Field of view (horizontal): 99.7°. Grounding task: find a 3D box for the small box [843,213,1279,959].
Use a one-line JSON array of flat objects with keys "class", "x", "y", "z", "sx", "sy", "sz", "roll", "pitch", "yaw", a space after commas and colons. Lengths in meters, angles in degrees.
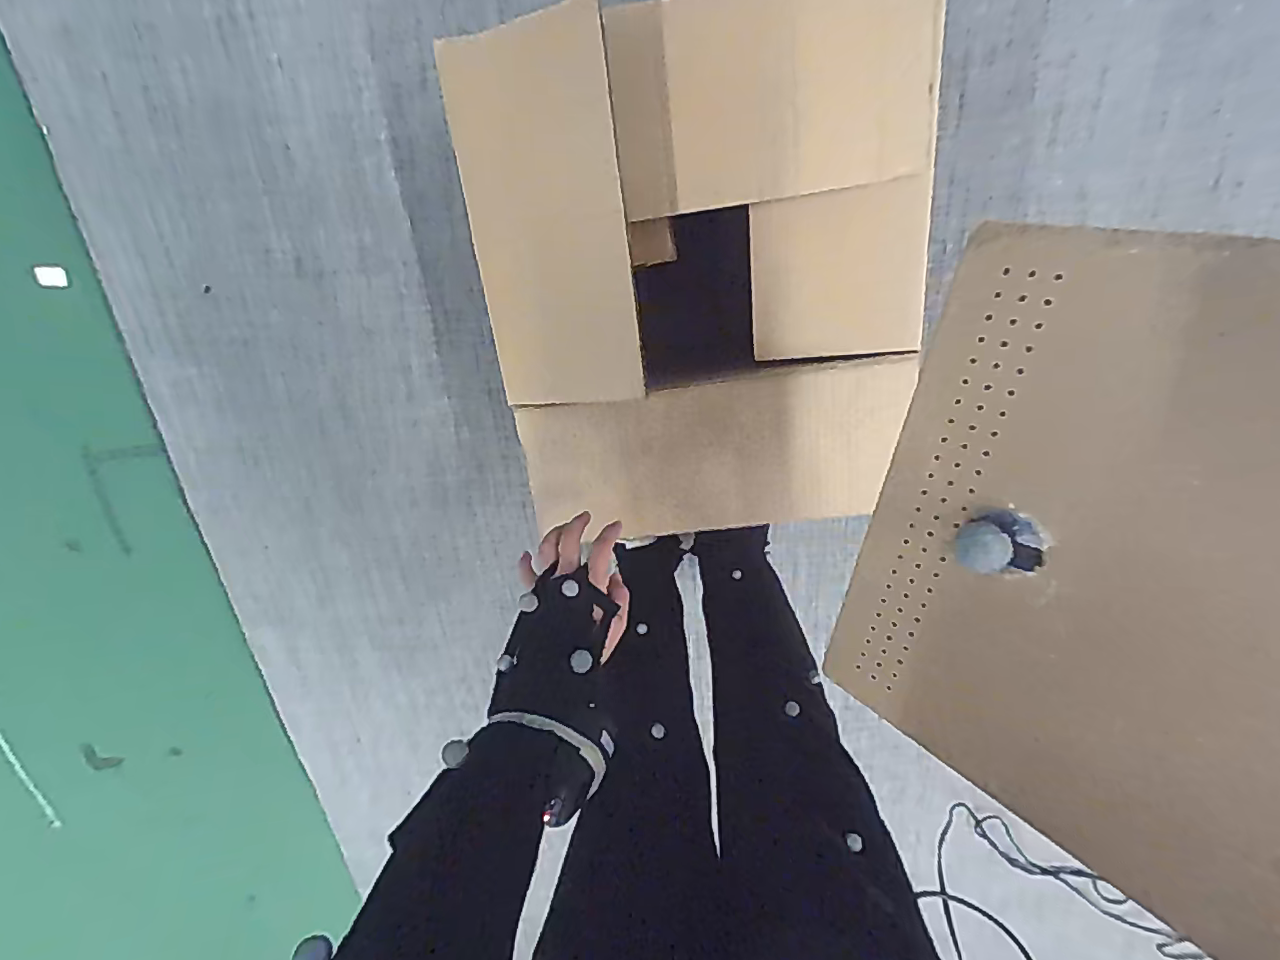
[{"class": "small box", "x": 0.200, "y": 0.017, "z": 0.190, "sx": 0.168, "sy": 0.176, "sz": 0.179, "roll": -13, "pitch": 122, "yaw": -38}]
